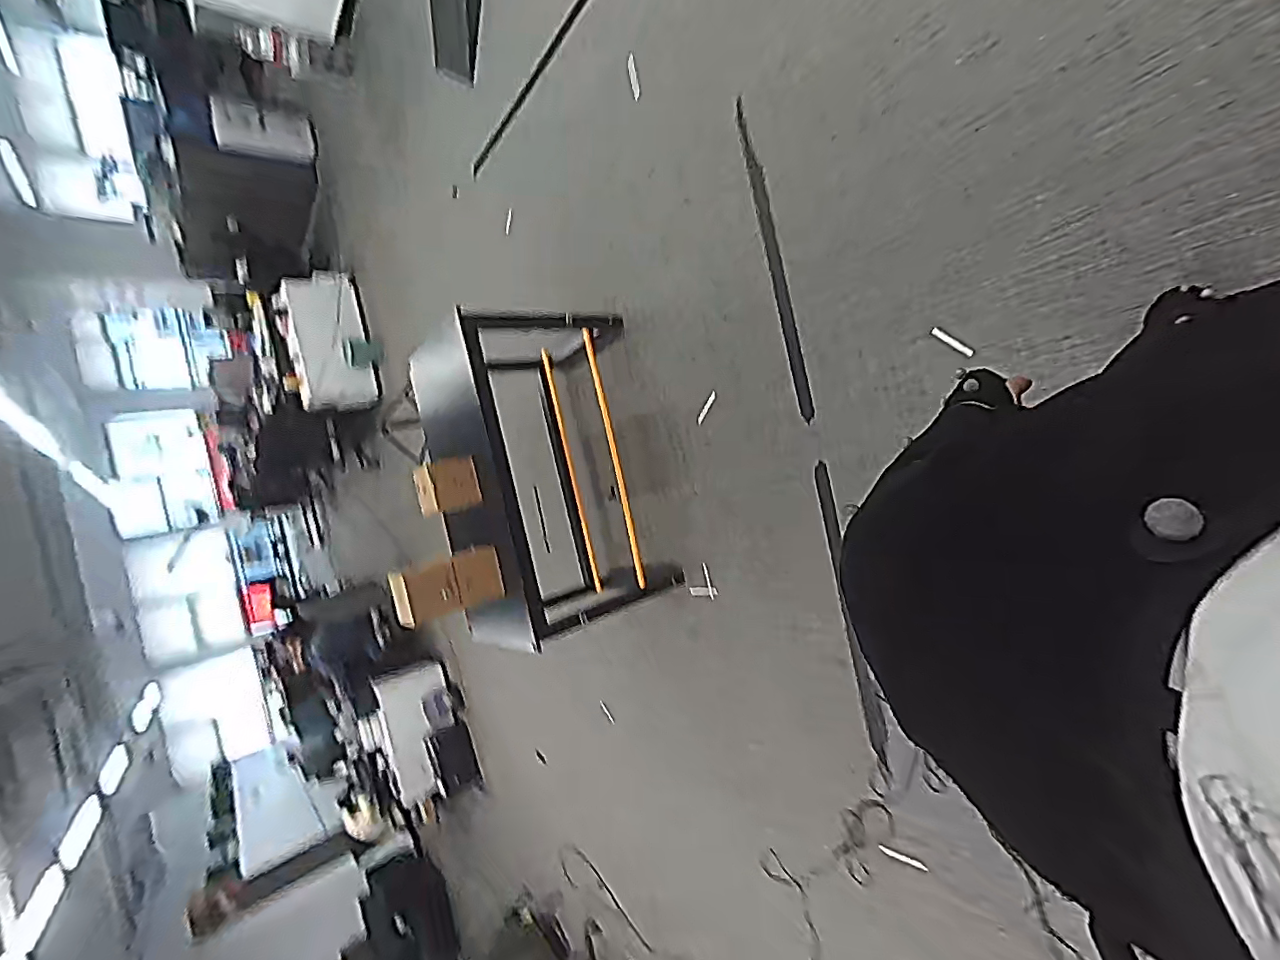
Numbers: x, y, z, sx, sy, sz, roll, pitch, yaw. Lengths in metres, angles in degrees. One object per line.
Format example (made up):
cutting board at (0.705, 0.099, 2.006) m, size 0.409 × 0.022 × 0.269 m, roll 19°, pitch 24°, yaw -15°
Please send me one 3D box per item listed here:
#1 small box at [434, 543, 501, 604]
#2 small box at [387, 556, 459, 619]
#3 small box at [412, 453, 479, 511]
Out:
small box at (-0.618, 0.332, 1.950) m, size 0.168 × 0.176 × 0.179 m, roll -11°, pitch 91°, yaw 50°
small box at (-0.739, 0.362, 1.846) m, size 0.179 × 0.176 × 0.168 m, roll -12°, pitch 92°, yaw 50°
small box at (-0.702, 0.006, 1.965) m, size 0.179 × 0.176 × 0.168 m, roll -15°, pitch 89°, yaw 50°
